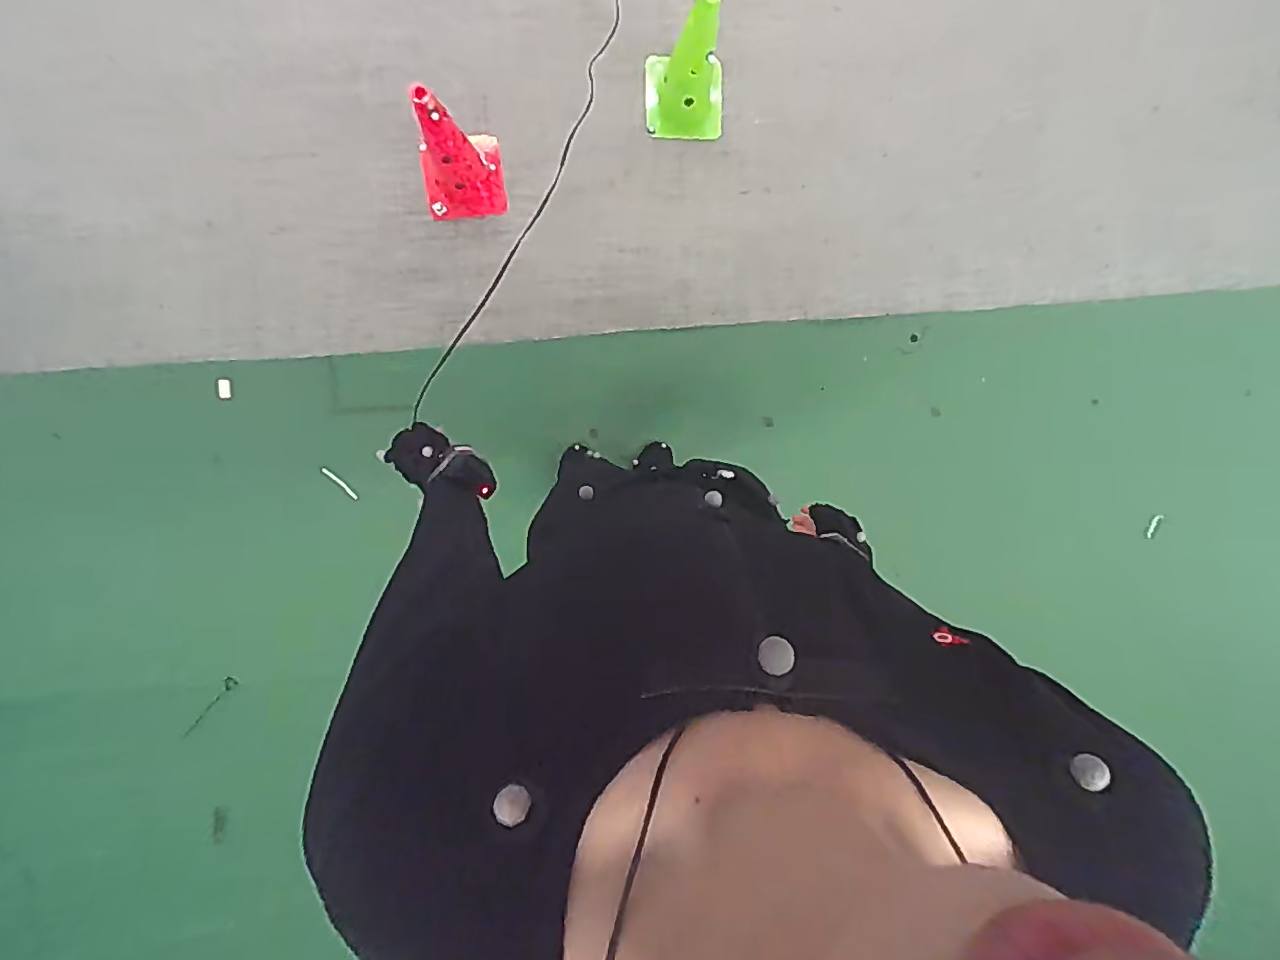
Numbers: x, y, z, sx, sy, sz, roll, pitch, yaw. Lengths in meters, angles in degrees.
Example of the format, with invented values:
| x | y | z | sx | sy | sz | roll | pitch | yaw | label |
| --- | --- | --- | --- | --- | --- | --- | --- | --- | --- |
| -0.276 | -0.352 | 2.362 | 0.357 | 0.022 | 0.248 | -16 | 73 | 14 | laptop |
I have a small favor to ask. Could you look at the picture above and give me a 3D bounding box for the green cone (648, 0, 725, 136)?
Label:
| x | y | z | sx | sy | sz | roll | pitch | yaw | label |
| --- | --- | --- | --- | --- | --- | --- | --- | --- | --- |
| 0.135 | -0.991 | 1.244 | 0.200 | 0.368 | 0.202 | -3 | 95 | -4 | green cone |
